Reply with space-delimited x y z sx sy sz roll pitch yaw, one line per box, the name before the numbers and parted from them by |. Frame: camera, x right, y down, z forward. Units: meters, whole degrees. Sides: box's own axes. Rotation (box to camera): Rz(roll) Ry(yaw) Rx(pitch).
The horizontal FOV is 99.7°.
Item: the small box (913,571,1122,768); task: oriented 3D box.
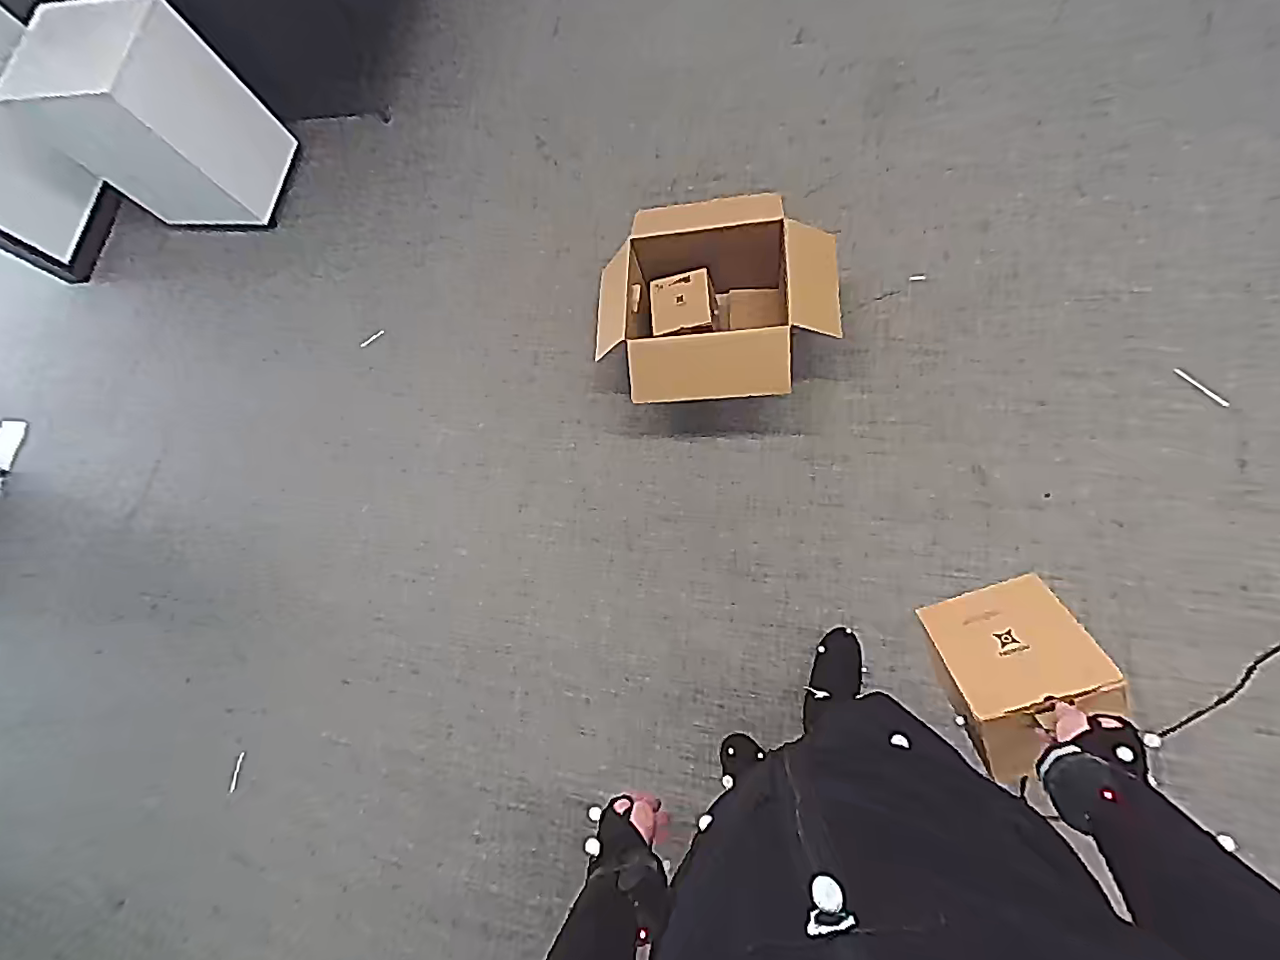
small box | 0.501 0.262 0.731 0.168 0.176 0.179 -22 31 13
